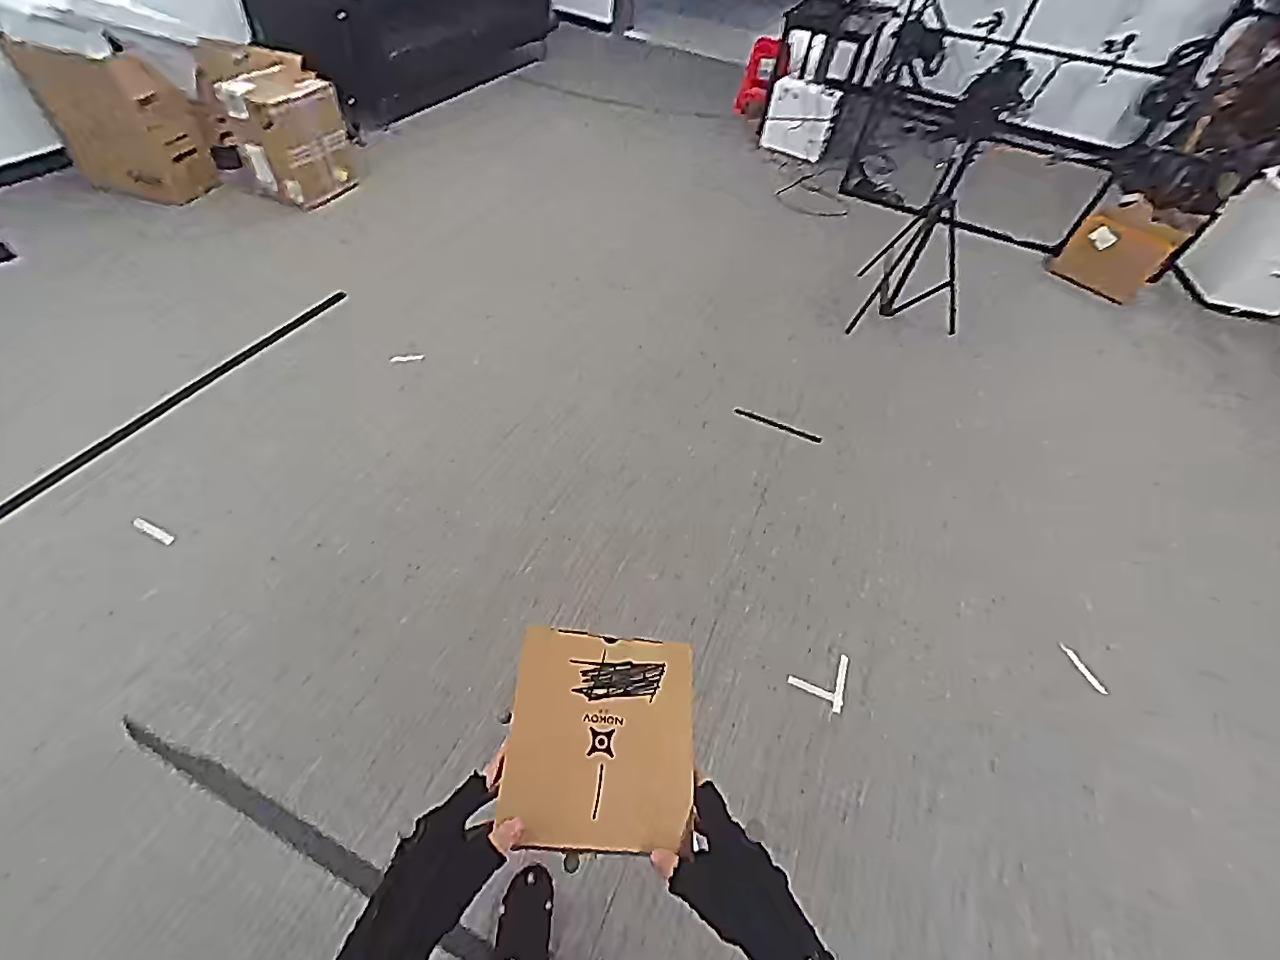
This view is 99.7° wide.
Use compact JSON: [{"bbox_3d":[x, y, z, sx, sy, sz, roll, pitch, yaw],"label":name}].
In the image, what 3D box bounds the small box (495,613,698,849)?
[{"bbox_3d":[-0.044,0.254,0.538,0.168,0.176,0.179,9,55,-7],"label":"small box"}]
